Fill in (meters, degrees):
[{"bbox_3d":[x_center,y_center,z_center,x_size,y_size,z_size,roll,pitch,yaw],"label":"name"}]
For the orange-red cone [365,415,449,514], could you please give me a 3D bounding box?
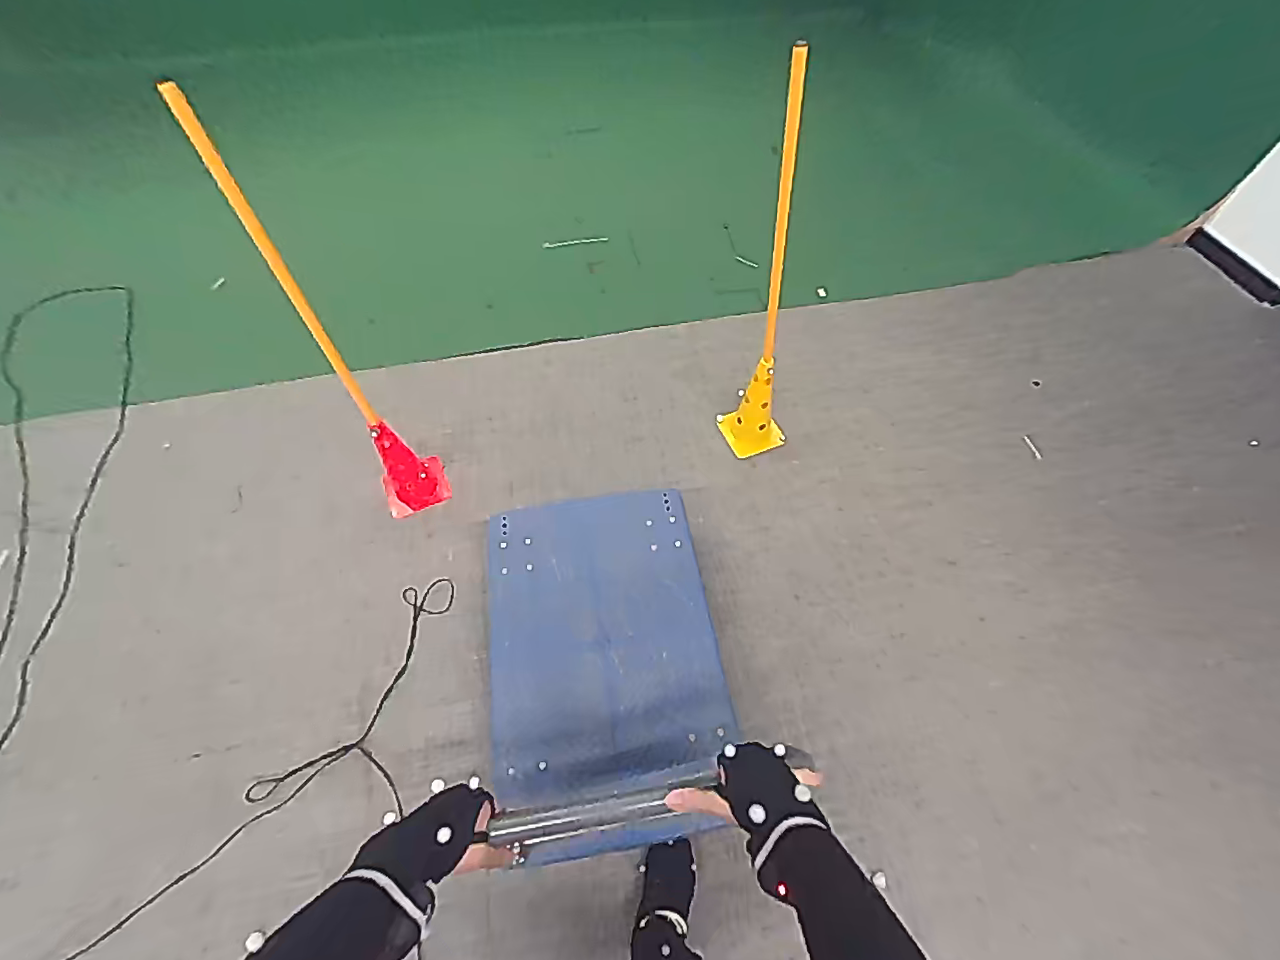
[{"bbox_3d":[-0.766,-0.079,1.689,0.199,0.360,0.198,-23,60,-12],"label":"orange-red cone"}]
